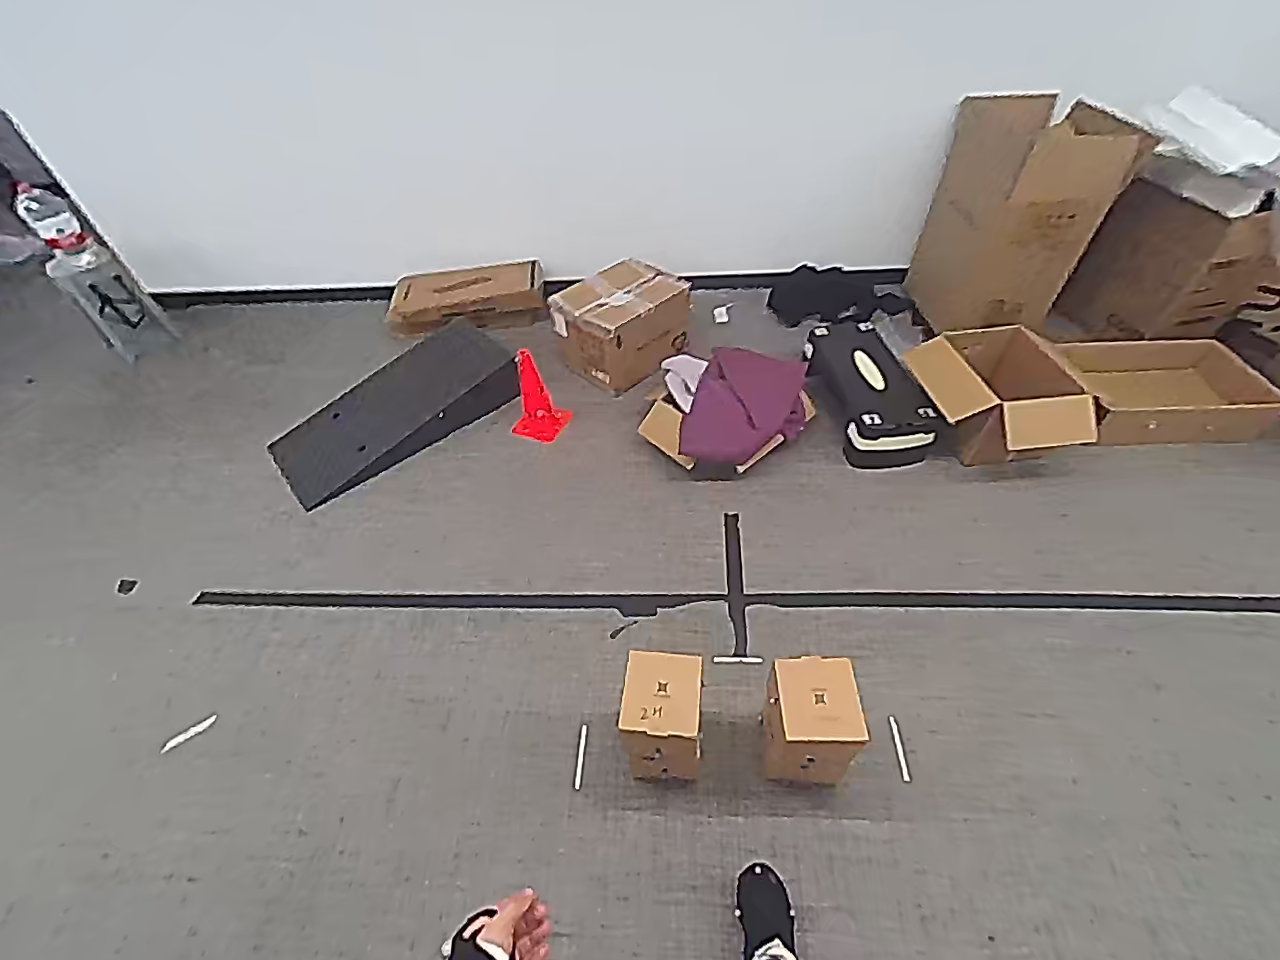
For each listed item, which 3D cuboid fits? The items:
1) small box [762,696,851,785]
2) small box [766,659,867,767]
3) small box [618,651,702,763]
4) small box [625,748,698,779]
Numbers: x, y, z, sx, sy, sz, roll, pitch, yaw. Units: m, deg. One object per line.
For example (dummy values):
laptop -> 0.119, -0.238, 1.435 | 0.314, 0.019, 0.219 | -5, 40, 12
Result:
small box -> 0.392, 0.623, 1.308 | 0.179, 0.176, 0.168 | 3, 48, 5
small box -> 0.378, 0.513, 1.190 | 0.168, 0.176, 0.179 | -2, 49, 4
small box -> 0.050, 0.509, 1.211 | 0.168, 0.176, 0.179 | 3, 48, 8
small box -> 0.058, 0.623, 1.332 | 0.168, 0.176, 0.179 | -1, 48, 4
